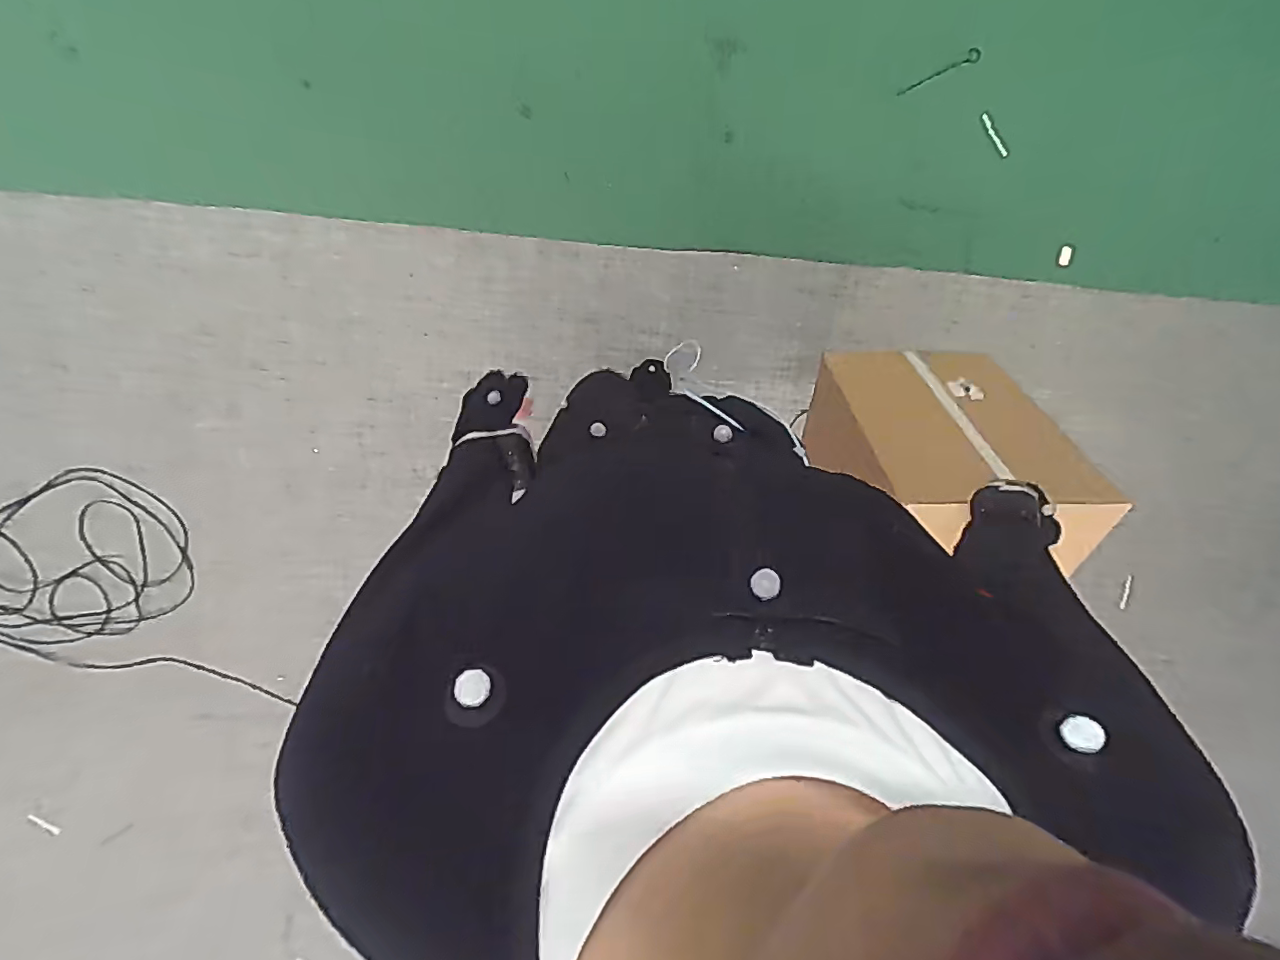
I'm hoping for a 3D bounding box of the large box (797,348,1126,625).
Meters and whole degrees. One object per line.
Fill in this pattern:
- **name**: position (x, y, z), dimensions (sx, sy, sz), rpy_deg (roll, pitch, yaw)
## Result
- **large box**: position (0.501, 0.003, 0.966), dimensions (0.320, 0.408, 0.320), rpy_deg (0, 132, -1)
